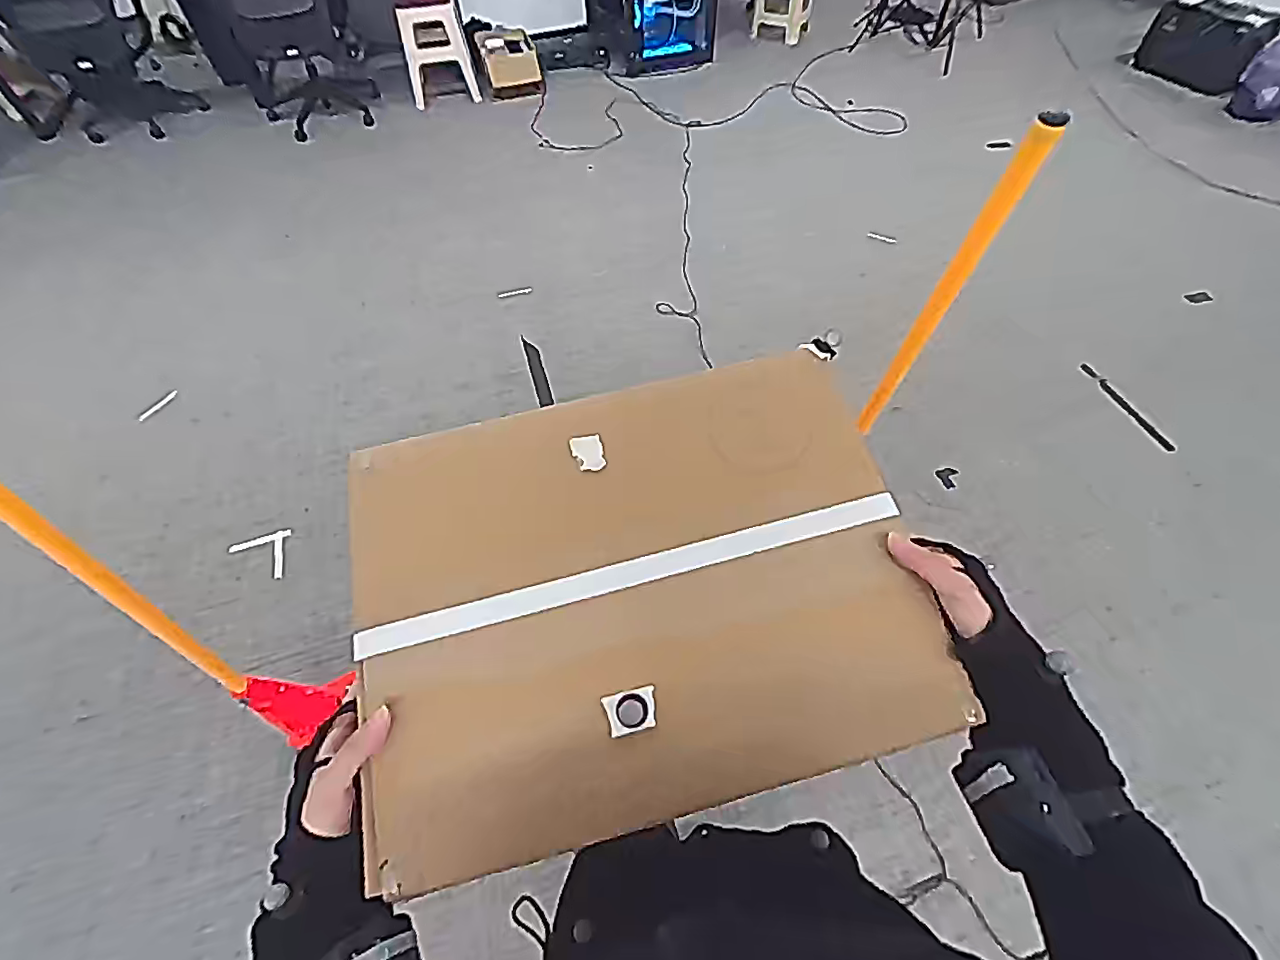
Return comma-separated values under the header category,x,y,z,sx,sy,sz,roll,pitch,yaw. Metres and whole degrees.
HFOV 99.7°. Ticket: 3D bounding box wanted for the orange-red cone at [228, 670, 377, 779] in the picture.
category,x,y,z,sx,sy,sz,roll,pitch,yaw
orange-red cone,-0.746,0.486,1.154,0.199,0.360,0.198,-24,58,-12
